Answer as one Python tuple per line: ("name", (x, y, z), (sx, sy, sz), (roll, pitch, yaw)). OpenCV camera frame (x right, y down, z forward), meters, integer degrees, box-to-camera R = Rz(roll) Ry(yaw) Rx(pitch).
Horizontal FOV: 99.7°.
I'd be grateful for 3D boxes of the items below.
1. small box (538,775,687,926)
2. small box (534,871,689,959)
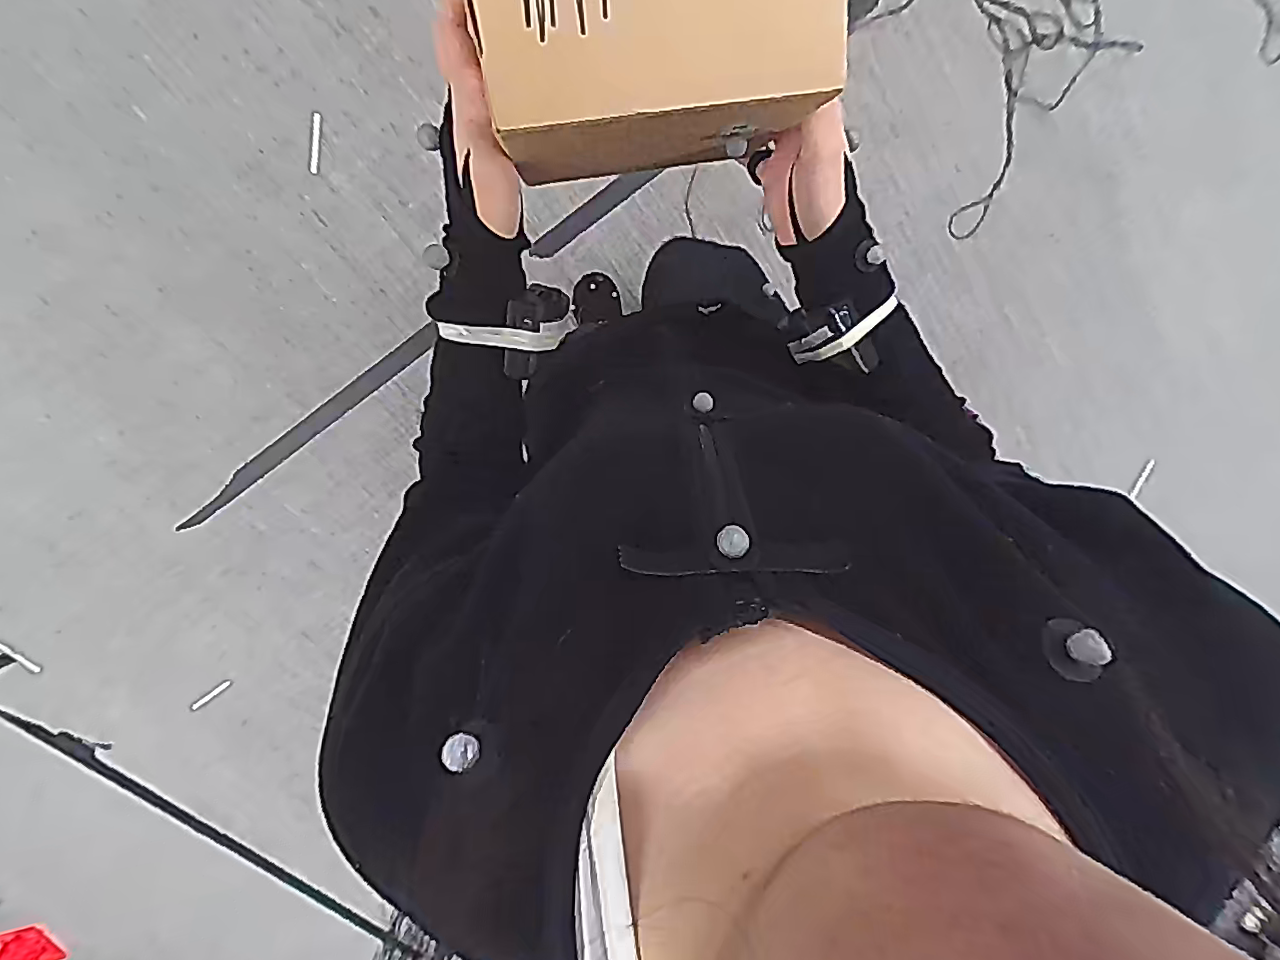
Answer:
("small box", (-0.046, 0.634, 0.891), (0.168, 0.176, 0.179), (-33, 110, 5))
("small box", (-0.031, 0.686, 0.736), (0.168, 0.176, 0.179), (-31, 111, 4))
